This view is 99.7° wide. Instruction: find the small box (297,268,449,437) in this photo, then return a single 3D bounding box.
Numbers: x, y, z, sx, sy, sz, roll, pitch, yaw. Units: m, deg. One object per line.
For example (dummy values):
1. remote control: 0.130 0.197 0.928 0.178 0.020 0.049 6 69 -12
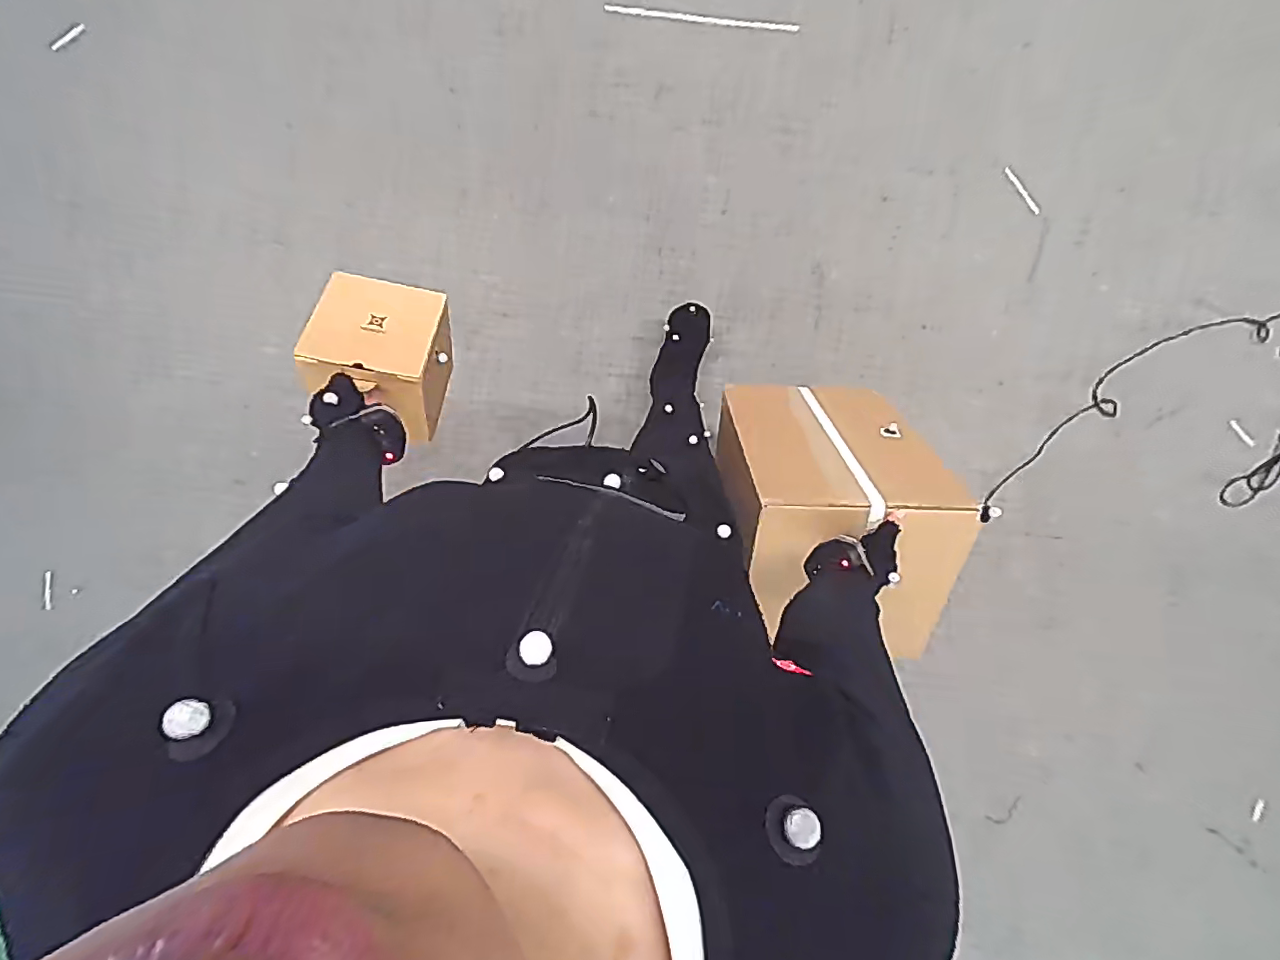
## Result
1. small box: -0.404 -0.194 0.854 0.168 0.176 0.179 9 61 -11
